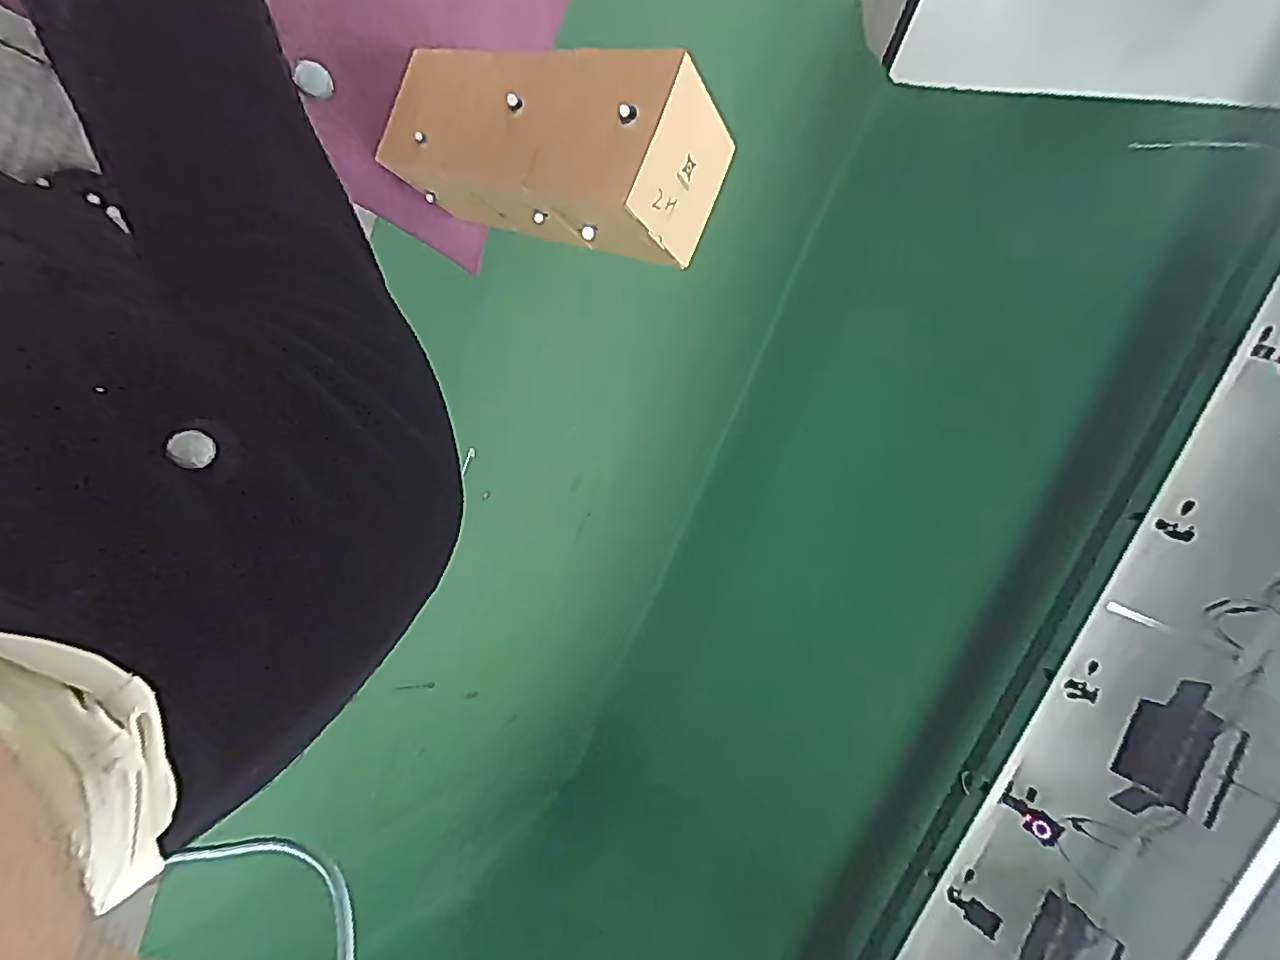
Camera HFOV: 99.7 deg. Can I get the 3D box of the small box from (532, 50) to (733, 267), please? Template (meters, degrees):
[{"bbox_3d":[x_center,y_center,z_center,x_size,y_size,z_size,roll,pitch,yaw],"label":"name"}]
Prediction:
[{"bbox_3d":[-0.010,-0.408,0.695,0.168,0.176,0.179,13,102,-60],"label":"small box"}]

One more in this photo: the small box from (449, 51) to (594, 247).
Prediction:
[{"bbox_3d":[-0.141,-0.468,0.775,0.168,0.176,0.179,14,100,-60],"label":"small box"}]
